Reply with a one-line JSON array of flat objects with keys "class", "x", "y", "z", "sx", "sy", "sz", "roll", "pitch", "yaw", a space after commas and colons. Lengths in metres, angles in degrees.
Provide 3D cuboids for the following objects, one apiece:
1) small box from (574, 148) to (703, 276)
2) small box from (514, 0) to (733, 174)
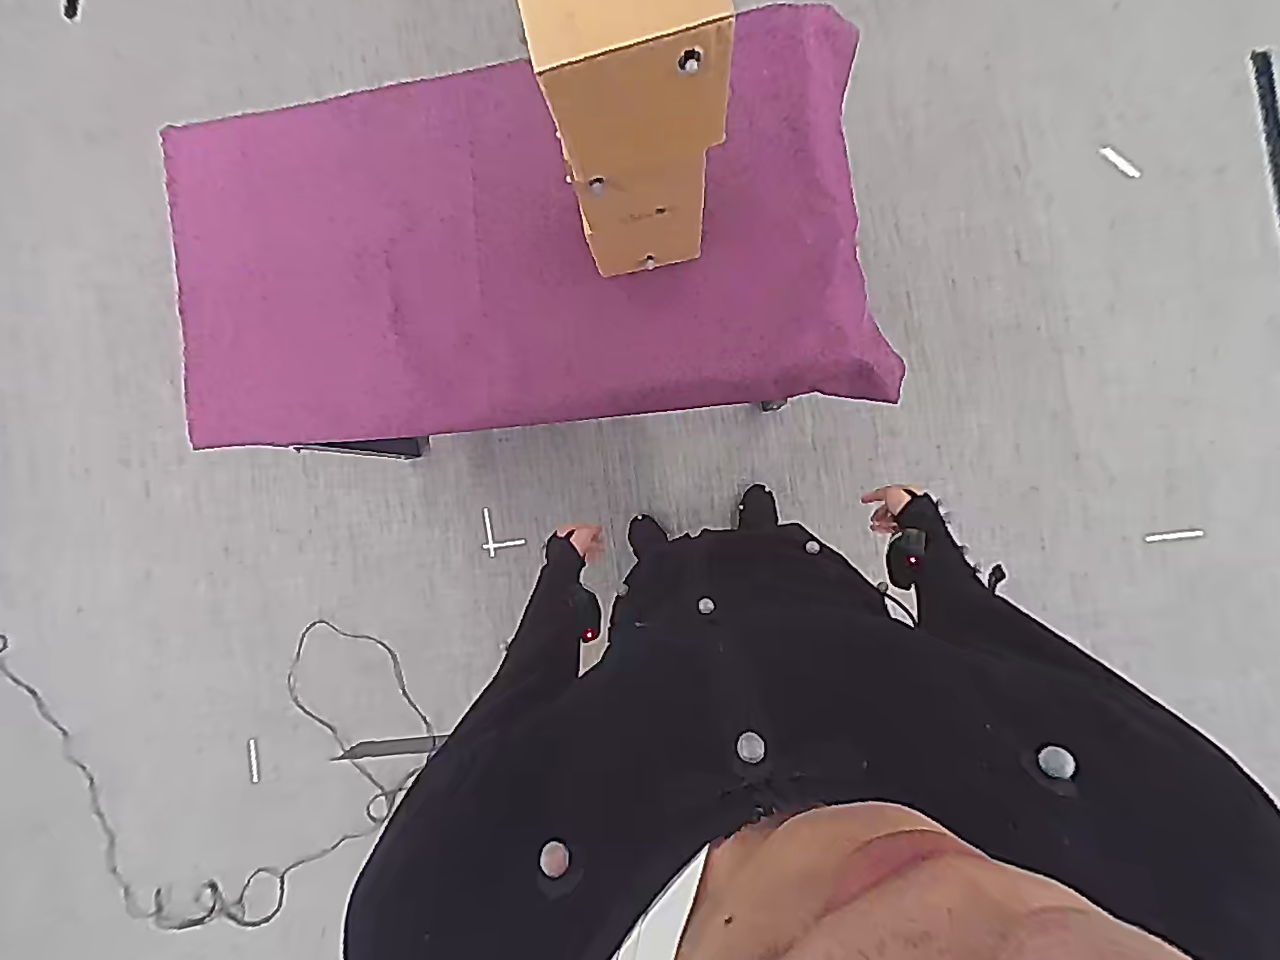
[{"class": "small box", "x": -0.004, "y": -0.444, "z": 0.852, "sx": 0.179, "sy": 0.176, "sz": 0.168, "roll": -10, "pitch": 88, "yaw": 4}, {"class": "small box", "x": -0.017, "y": -0.435, "z": 0.524, "sx": 0.179, "sy": 0.176, "sz": 0.168, "roll": -13, "pitch": 87, "yaw": 4}]
